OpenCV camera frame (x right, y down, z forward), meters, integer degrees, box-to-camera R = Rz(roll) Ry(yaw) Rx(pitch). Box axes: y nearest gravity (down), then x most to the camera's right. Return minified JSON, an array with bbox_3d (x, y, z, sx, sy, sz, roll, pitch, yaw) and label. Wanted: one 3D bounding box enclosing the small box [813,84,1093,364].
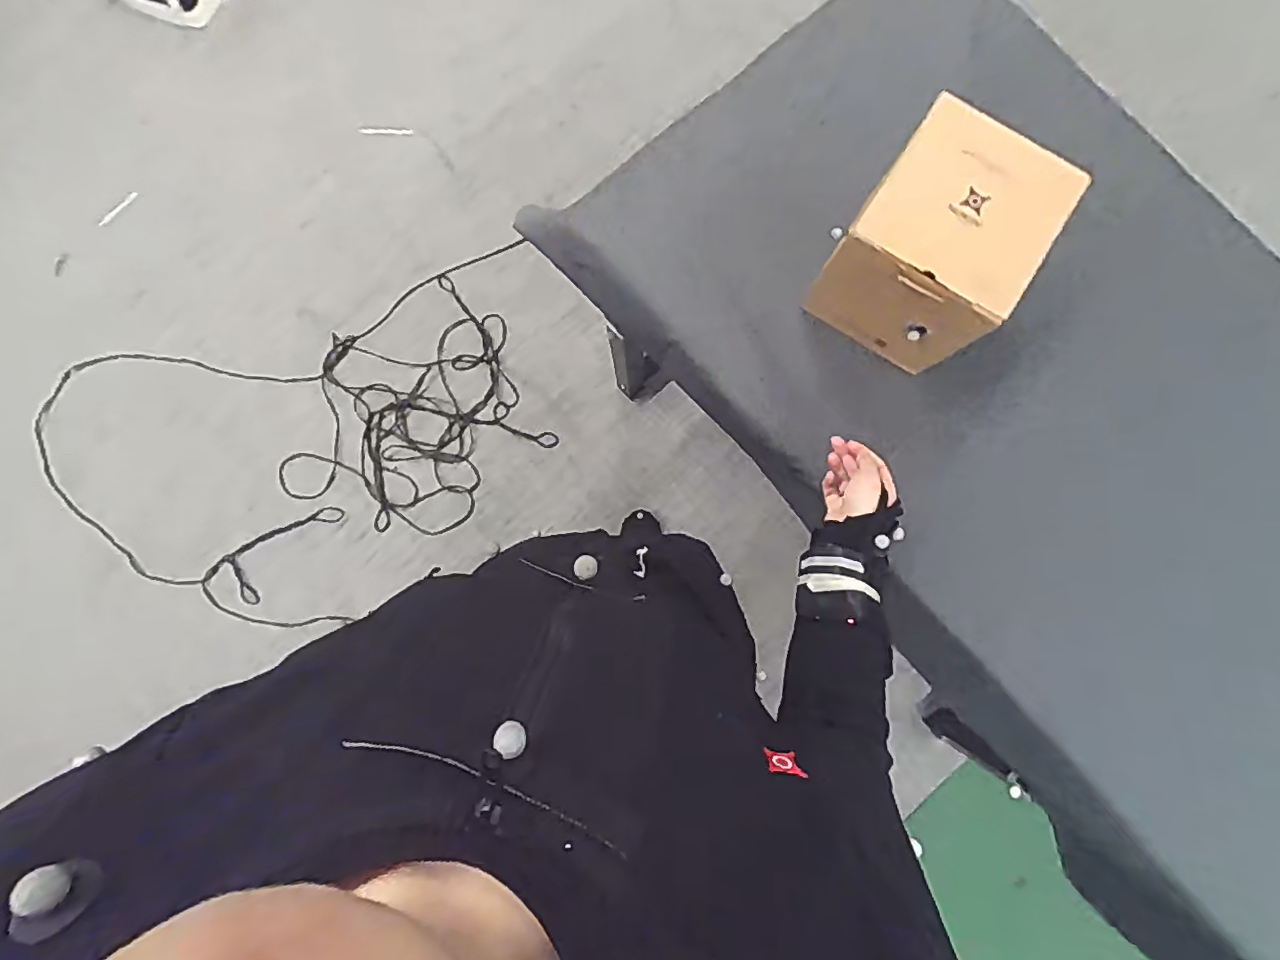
[{"bbox_3d":[0.309,-0.252,0.578,0.168,0.176,0.179,32,84,2],"label":"small box"}]
